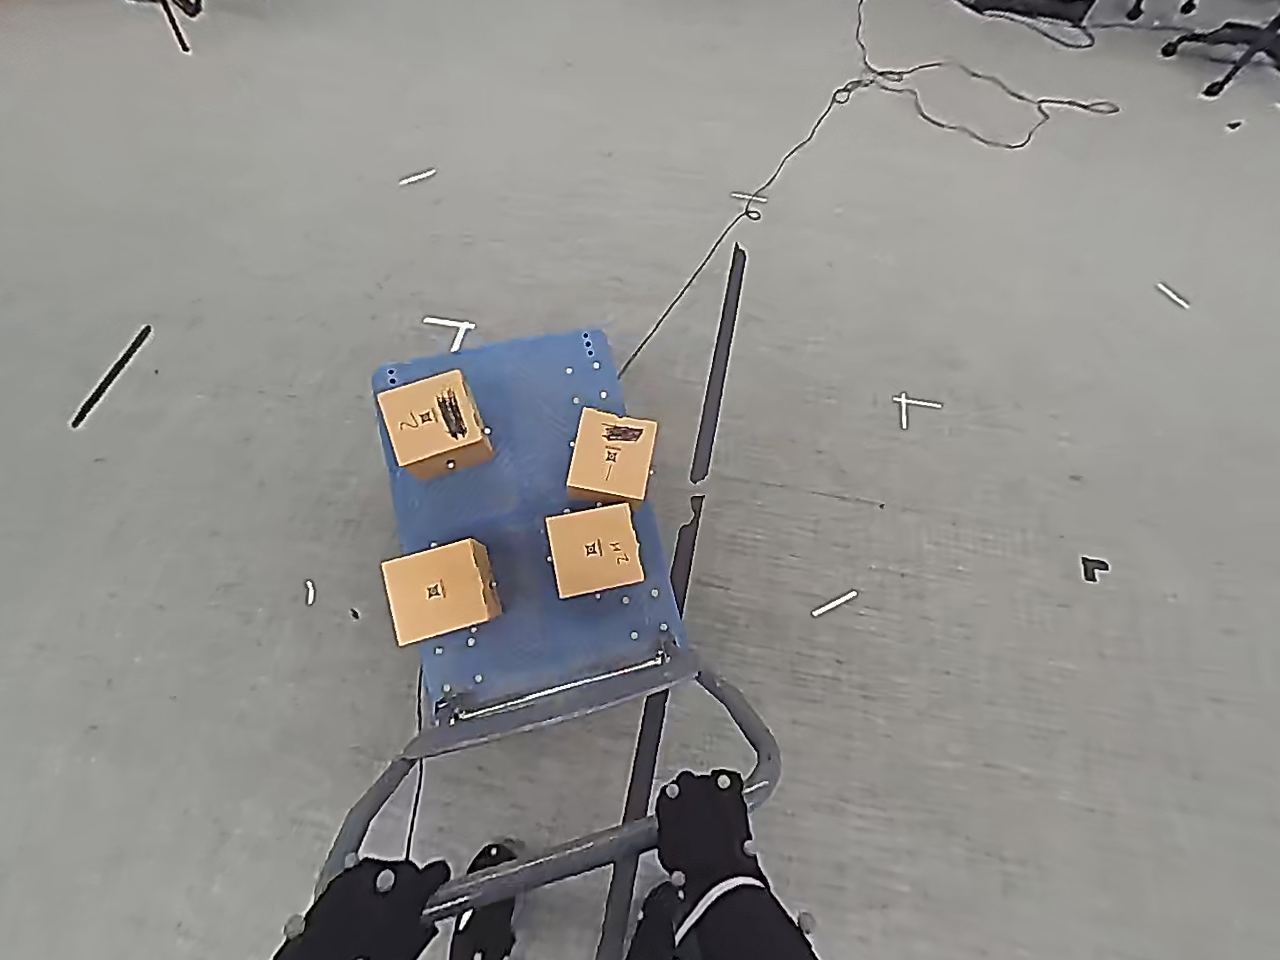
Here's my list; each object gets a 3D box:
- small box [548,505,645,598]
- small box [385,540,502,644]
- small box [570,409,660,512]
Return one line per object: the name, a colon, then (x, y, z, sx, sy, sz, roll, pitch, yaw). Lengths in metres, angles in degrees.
small box: (-0.095, 0.160, 1.170, 0.179, 0.176, 0.168, -10, 80, -7)
small box: (-0.400, 0.234, 1.126, 0.179, 0.176, 0.168, -15, 80, -10)
small box: (-0.059, -0.037, 1.215, 0.168, 0.176, 0.179, 11, 78, -3)
